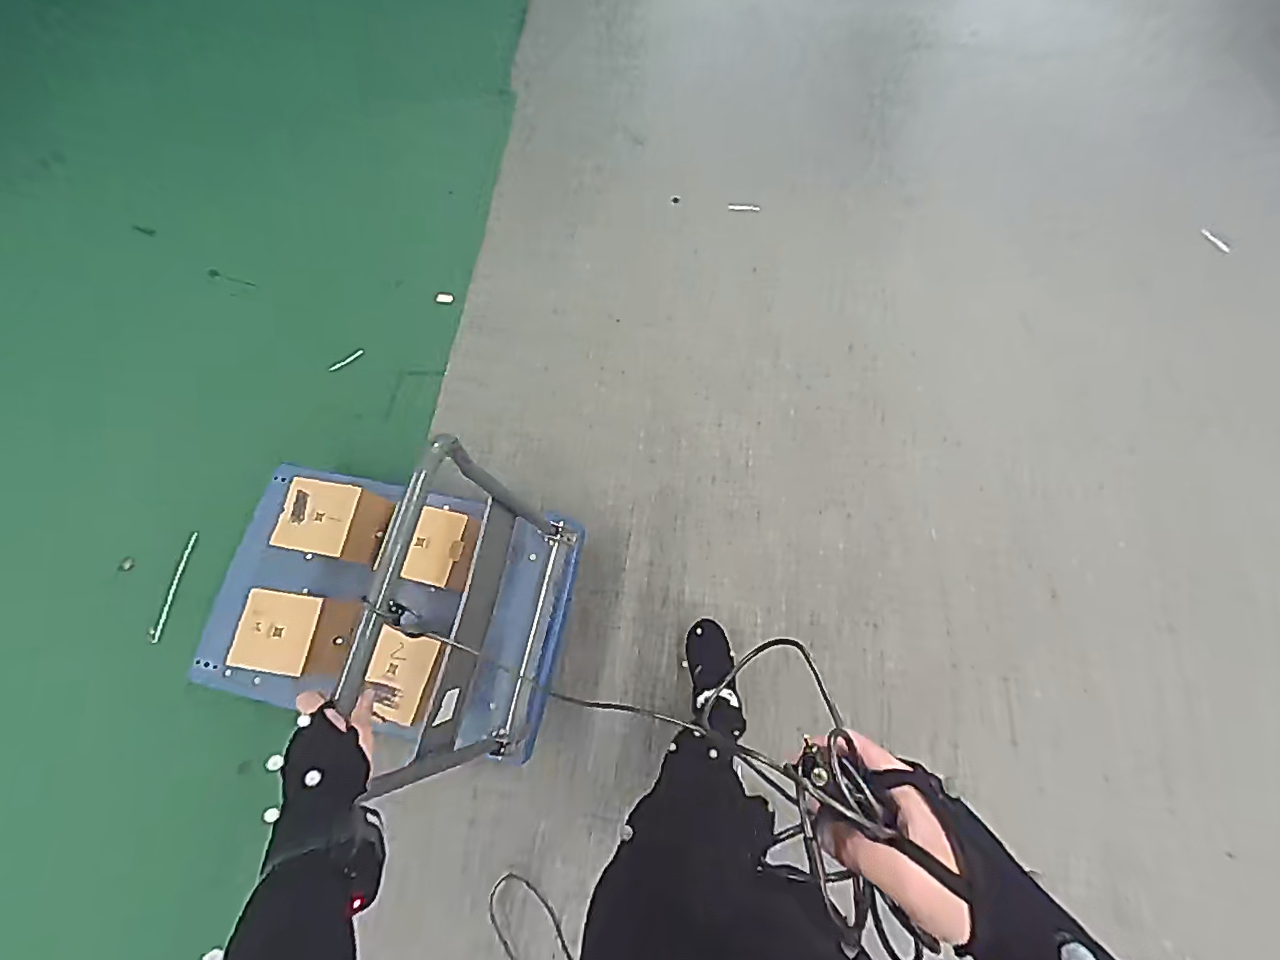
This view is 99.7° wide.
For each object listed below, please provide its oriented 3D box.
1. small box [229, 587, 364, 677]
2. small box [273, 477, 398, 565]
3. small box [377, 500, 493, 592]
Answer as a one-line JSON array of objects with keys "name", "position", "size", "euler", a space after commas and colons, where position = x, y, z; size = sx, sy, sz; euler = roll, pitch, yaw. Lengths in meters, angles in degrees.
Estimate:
[{"name": "small box", "position": [-0.772, 0.348, 1.239], "size": [0.179, 0.176, 0.168], "euler": [7, 73, 7]}, {"name": "small box", "position": [-0.726, 0.104, 1.310], "size": [0.179, 0.176, 0.168], "euler": [9, 74, 6]}, {"name": "small box", "position": [-0.473, 0.161, 1.273], "size": [0.179, 0.176, 0.168], "euler": [12, 74, 7]}]
